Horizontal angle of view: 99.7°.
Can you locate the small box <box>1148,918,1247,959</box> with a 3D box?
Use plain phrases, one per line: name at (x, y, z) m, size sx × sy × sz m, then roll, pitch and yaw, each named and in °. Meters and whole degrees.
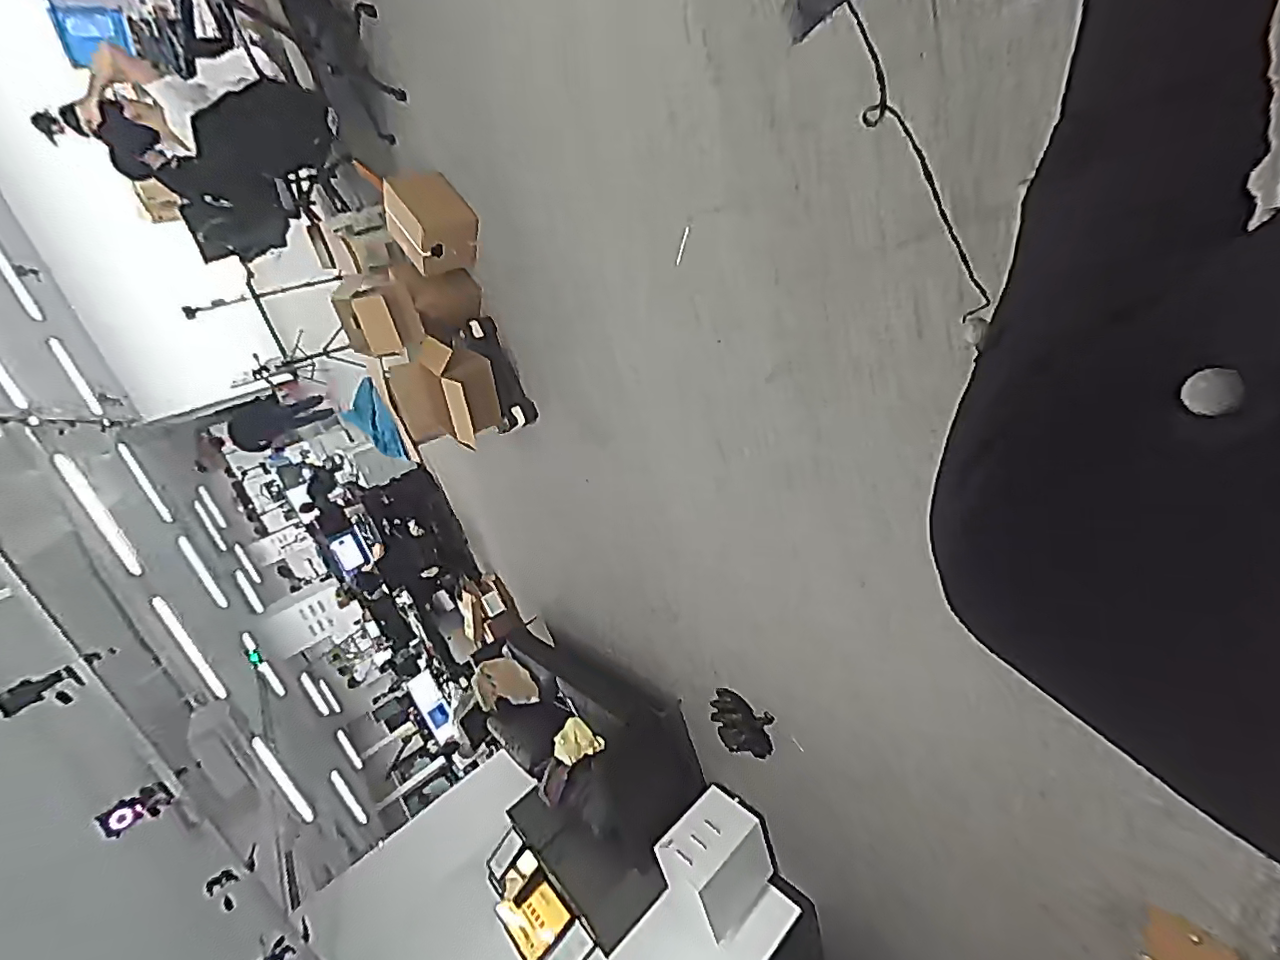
small box at (1.571, 1.400, 1.531) m, size 0.179 × 0.176 × 0.168 m, roll 14°, pitch 126°, yaw 50°
